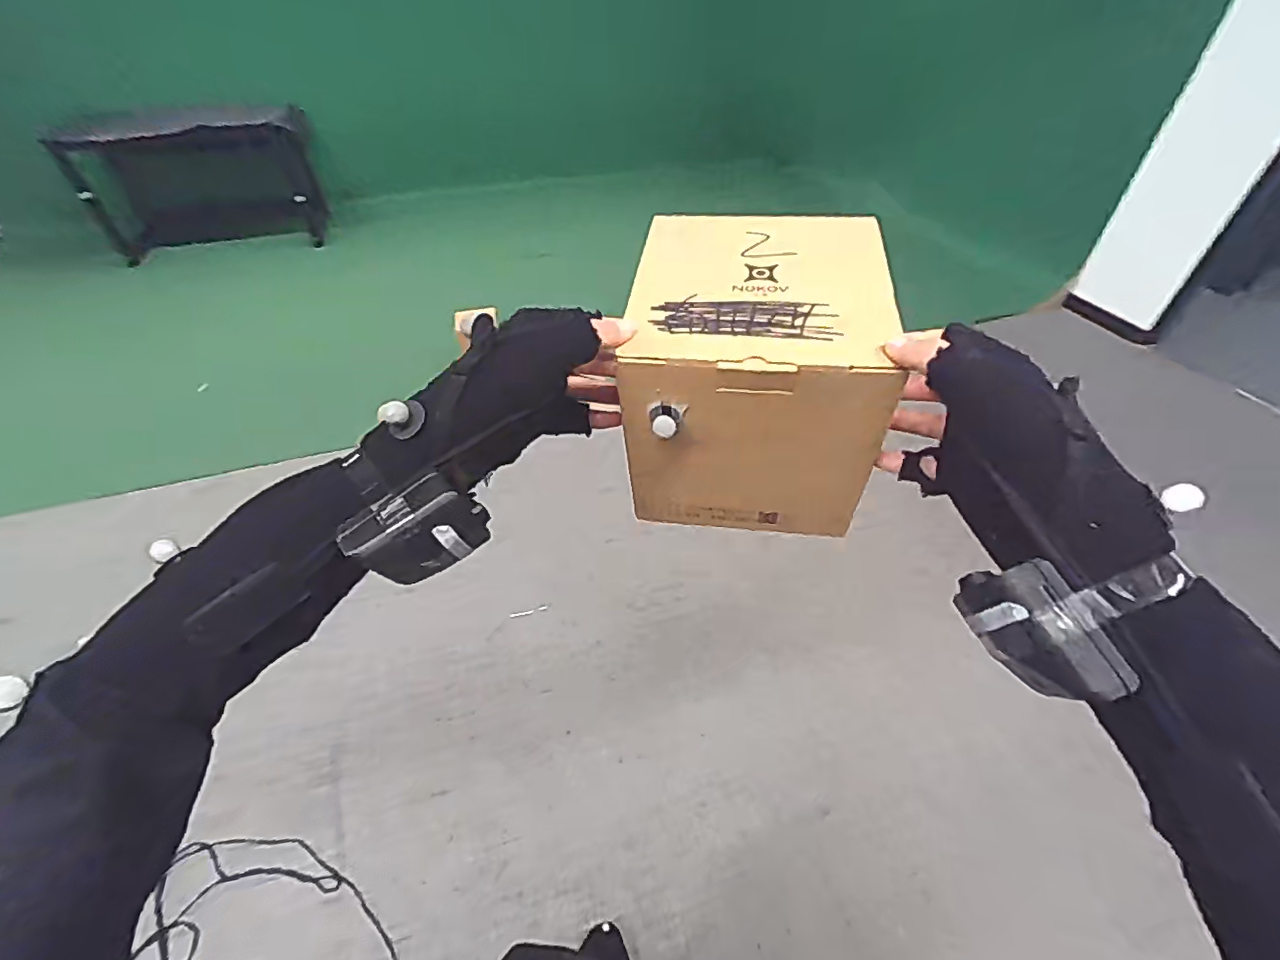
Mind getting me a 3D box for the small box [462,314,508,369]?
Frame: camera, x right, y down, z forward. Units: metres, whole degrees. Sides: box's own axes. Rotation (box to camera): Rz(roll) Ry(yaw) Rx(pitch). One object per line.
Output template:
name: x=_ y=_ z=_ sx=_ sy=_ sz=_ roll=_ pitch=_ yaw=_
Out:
small box: x=-0.680 y=-0.608 z=2.377 sx=0.168 sy=0.176 sz=0.179 roll=-9 pitch=45 yaw=-8
